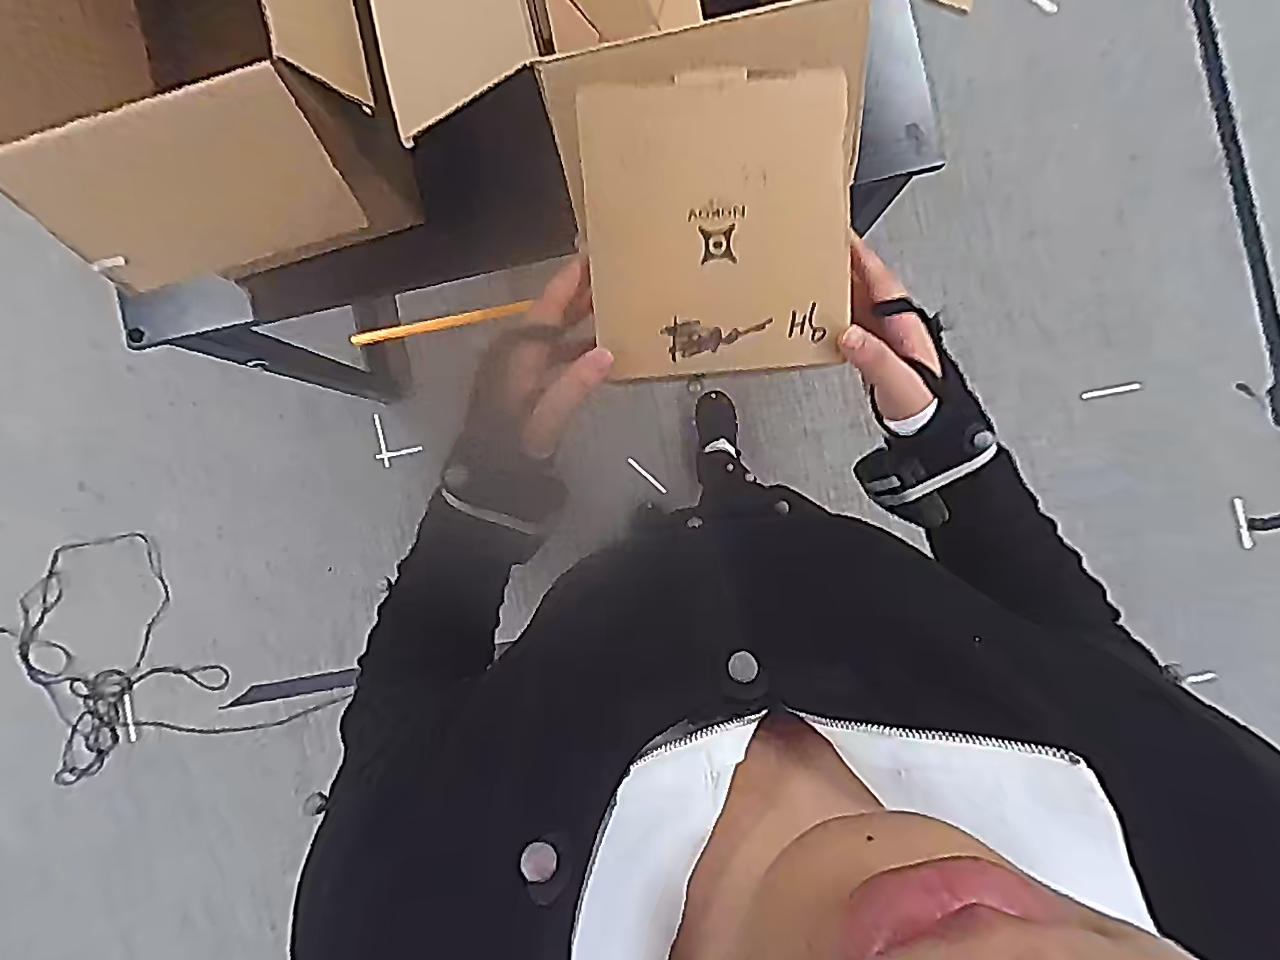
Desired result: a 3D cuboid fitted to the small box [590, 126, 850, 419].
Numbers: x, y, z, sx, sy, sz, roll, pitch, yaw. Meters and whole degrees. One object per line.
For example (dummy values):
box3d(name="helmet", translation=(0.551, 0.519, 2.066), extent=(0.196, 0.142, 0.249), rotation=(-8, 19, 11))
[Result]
box3d(name="small box", translation=(0.050, -0.141, 0.425), extent=(0.168, 0.176, 0.179), rotation=(-4, 99, -1))
